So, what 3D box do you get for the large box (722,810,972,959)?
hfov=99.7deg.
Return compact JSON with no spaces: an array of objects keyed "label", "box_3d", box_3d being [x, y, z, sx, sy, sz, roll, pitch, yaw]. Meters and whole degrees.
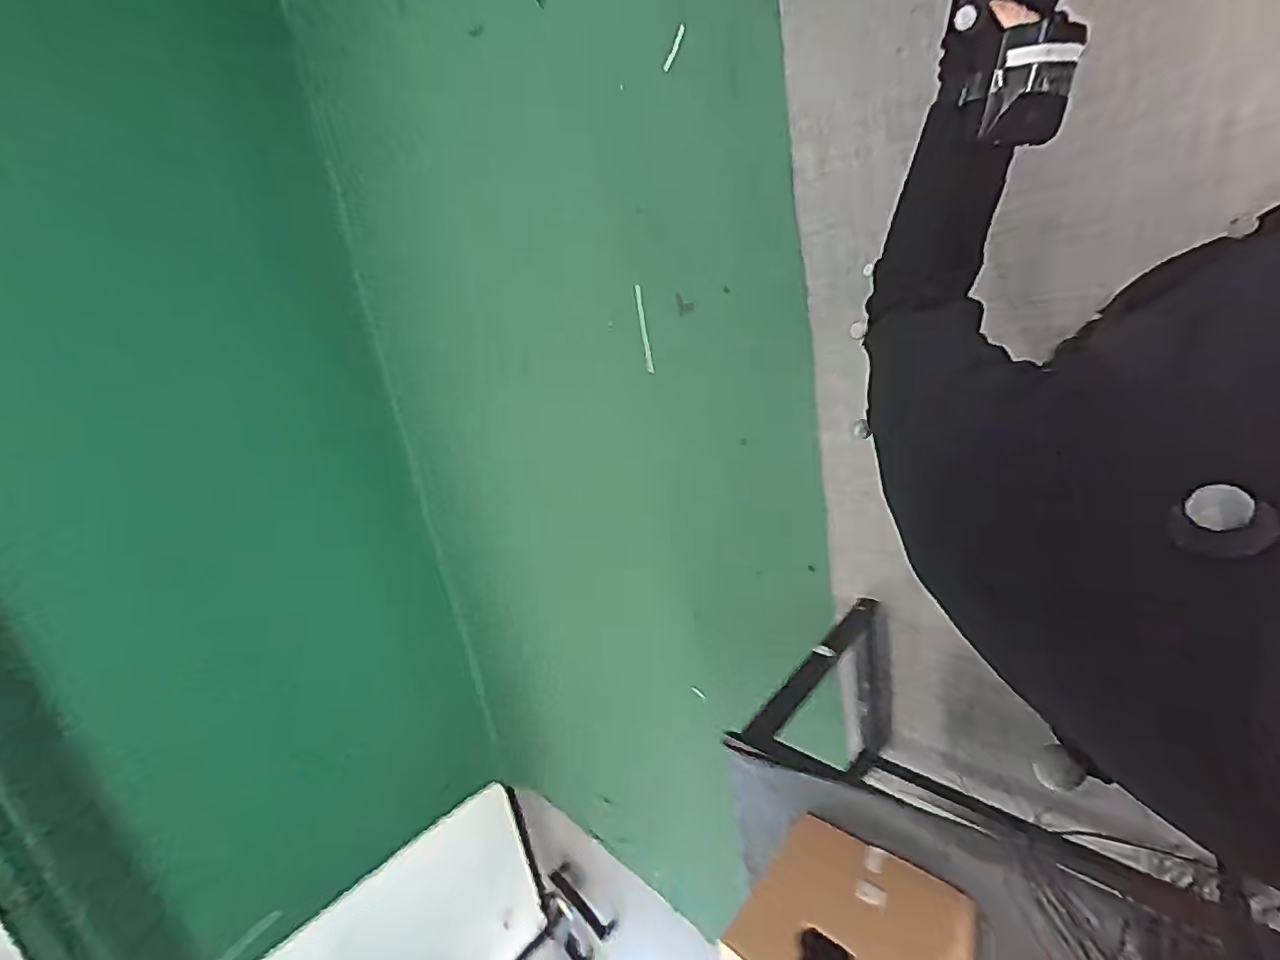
[{"label":"large box","box_3d":[0.388,0.917,0.972,0.320,0.320,0.408,4,112,45]}]
